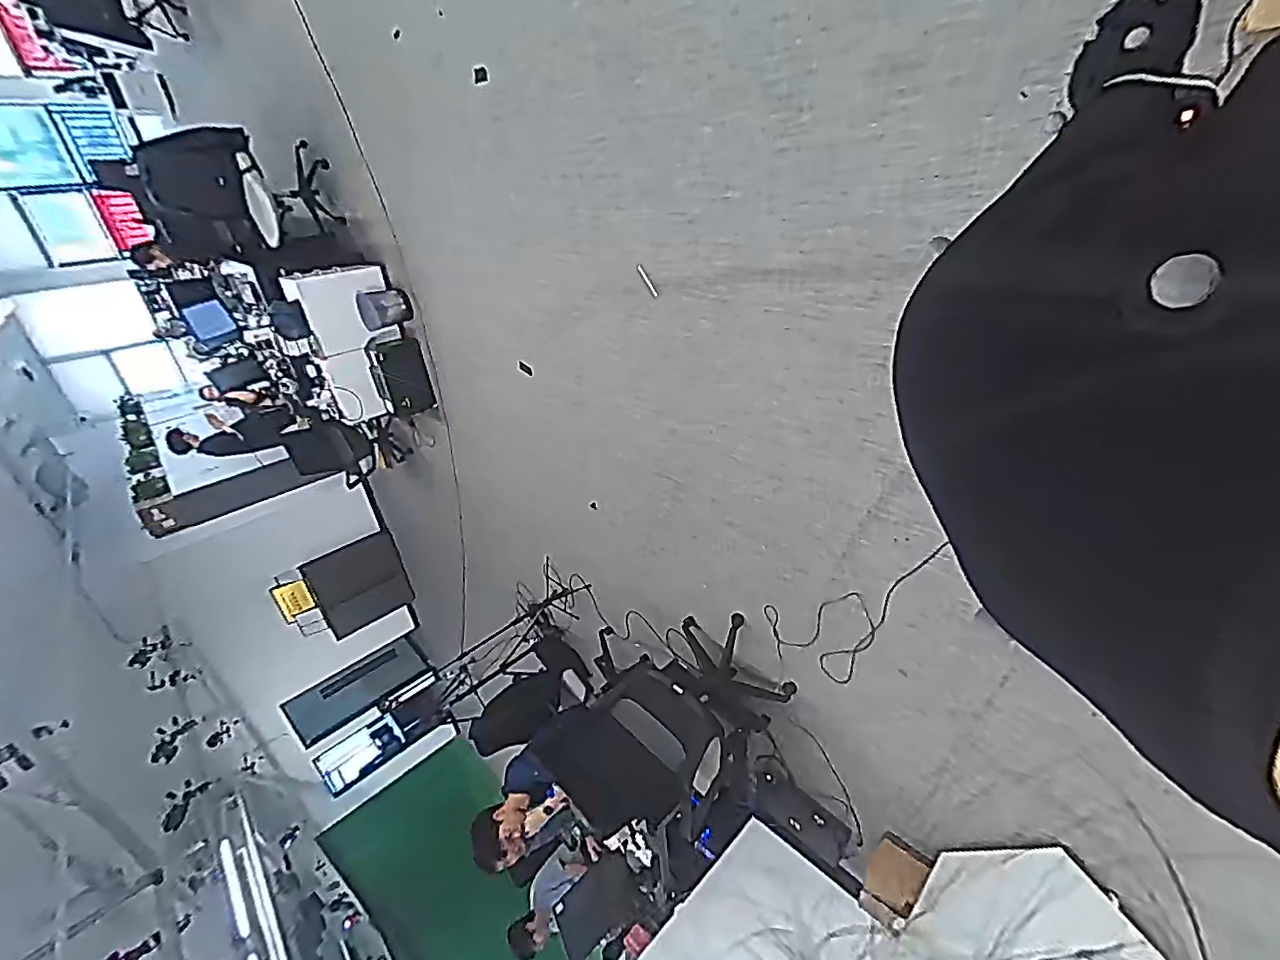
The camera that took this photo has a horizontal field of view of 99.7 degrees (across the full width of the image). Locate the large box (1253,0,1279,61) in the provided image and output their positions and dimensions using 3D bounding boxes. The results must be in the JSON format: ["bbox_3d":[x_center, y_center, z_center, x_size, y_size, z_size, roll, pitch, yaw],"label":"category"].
[{"bbox_3d":[1.022,-0.711,0.597,0.408,0.320,0.320,20,128,41],"label":"large box"}]
